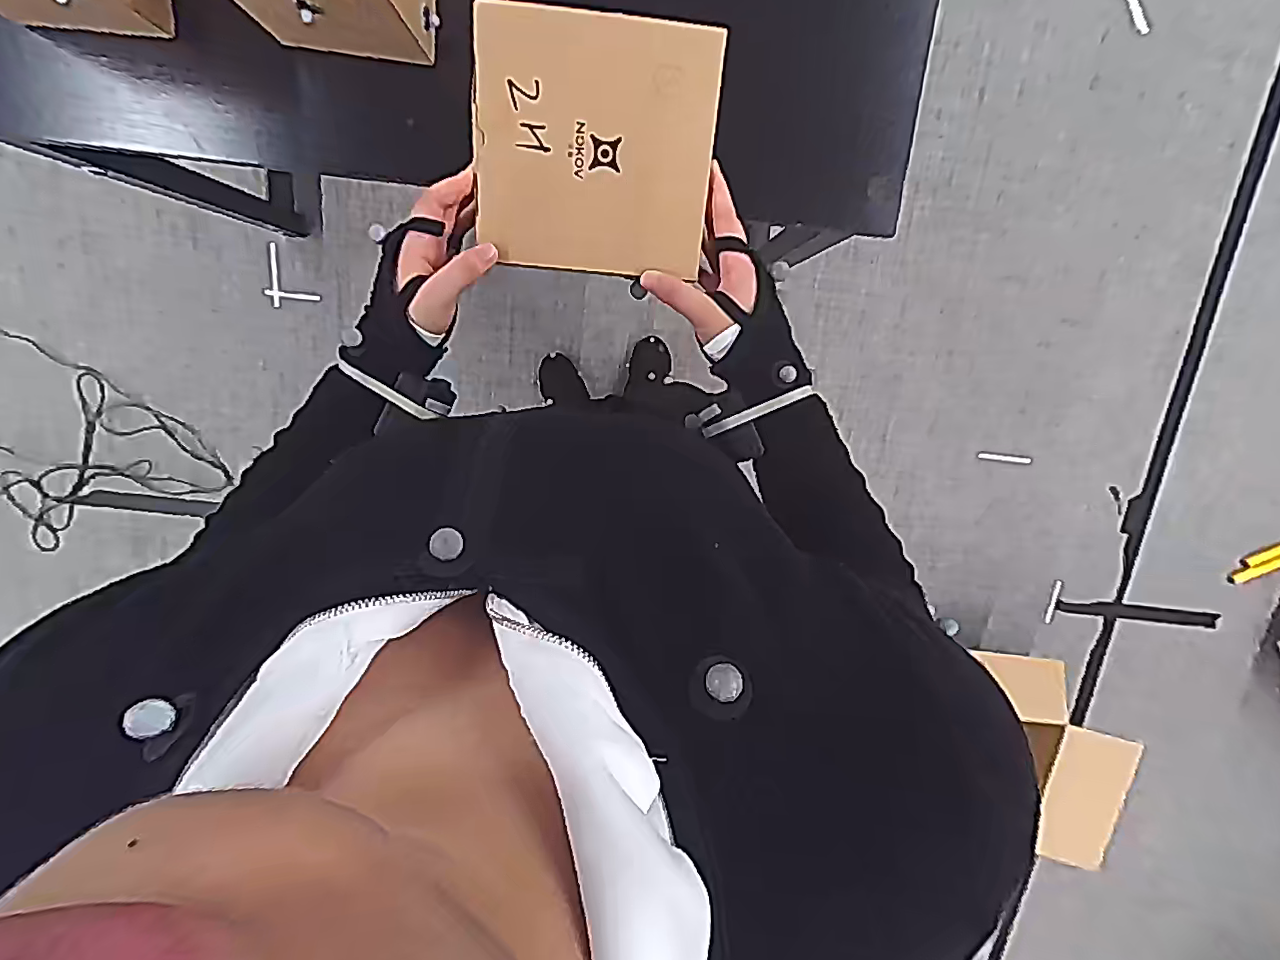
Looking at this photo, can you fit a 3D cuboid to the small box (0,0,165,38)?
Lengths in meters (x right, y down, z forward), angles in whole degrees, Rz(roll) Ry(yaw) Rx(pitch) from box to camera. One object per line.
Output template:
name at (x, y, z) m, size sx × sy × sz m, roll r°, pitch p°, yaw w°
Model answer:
small box at (-0.611, -0.571, 0.524) m, size 0.179 × 0.176 × 0.168 m, roll 3°, pitch 102°, yaw -2°

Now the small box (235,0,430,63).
small box at (-0.317, -0.553, 0.535) m, size 0.179 × 0.176 × 0.168 m, roll 6°, pitch 103°, yaw -2°

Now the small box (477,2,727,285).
small box at (-0.035, -0.268, 0.473) m, size 0.179 × 0.176 × 0.168 m, roll 5°, pitch 110°, yaw -3°
